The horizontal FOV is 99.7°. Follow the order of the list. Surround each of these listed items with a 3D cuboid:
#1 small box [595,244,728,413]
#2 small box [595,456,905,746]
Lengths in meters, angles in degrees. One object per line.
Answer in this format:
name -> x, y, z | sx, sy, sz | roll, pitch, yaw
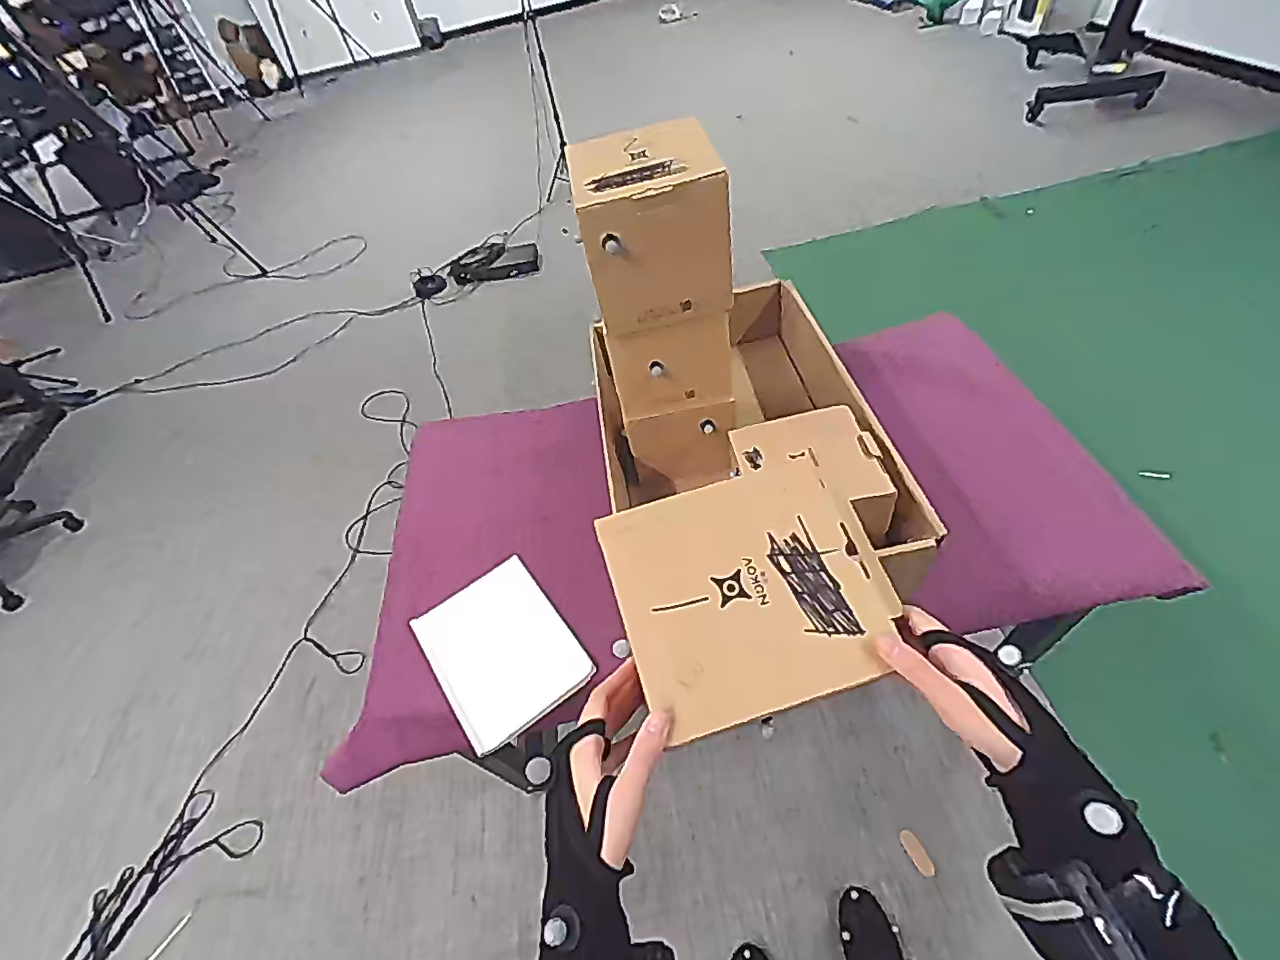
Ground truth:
small box -> 0.034, -0.219, 0.813 | 0.168, 0.176, 0.179 | -11, 51, 3
small box -> 0.073, 0.108, 0.448 | 0.179, 0.176, 0.168 | -16, 62, -4
